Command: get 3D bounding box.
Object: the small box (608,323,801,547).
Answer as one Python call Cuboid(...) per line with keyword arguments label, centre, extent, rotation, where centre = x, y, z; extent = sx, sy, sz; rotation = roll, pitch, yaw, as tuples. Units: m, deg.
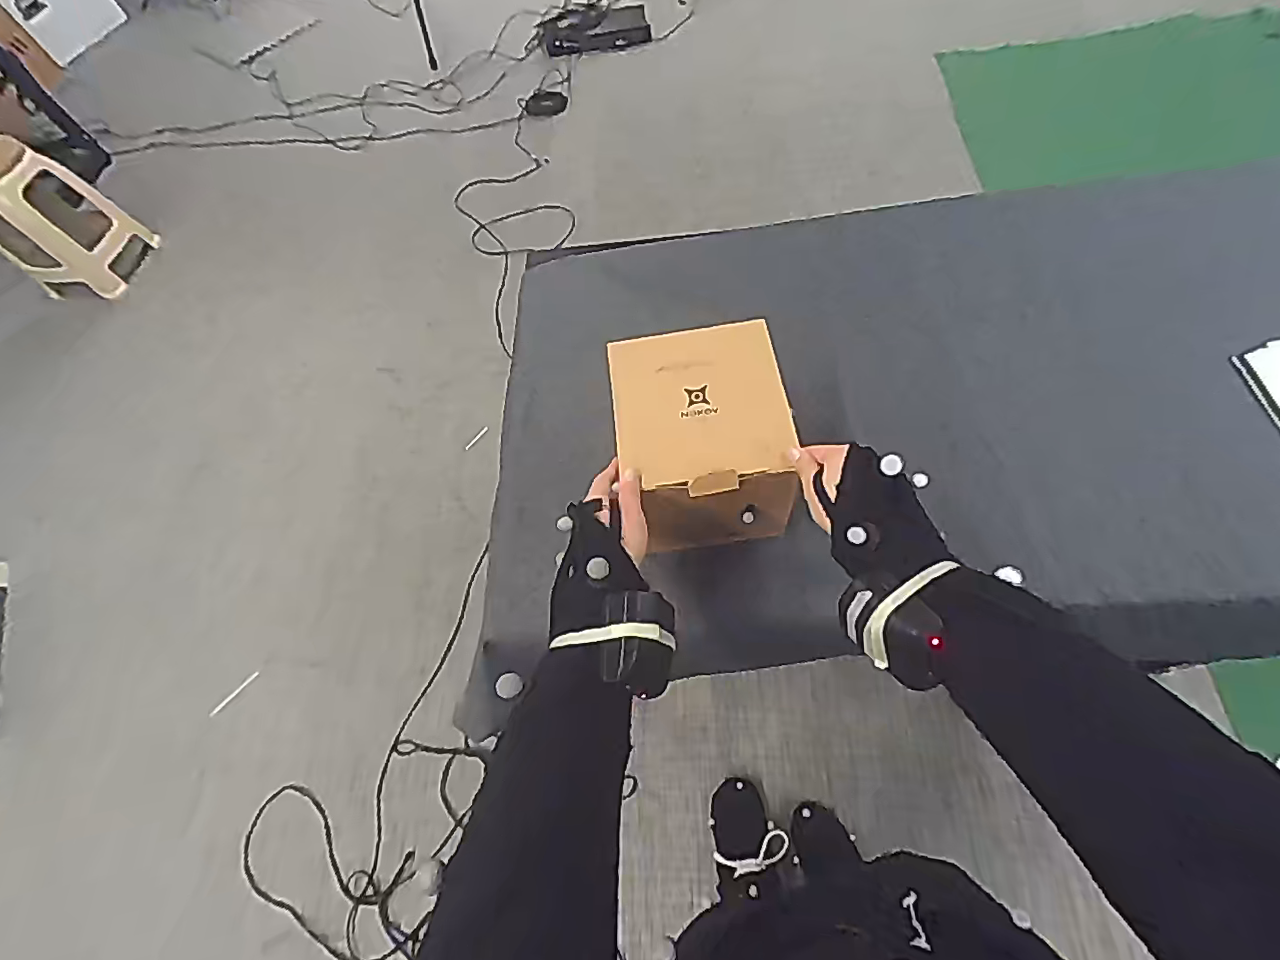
Cuboid(label="small box", centre=(0.063, -0.036, 0.585), extent=(0.168, 0.176, 0.179), rotation=(-8, 61, 2))
